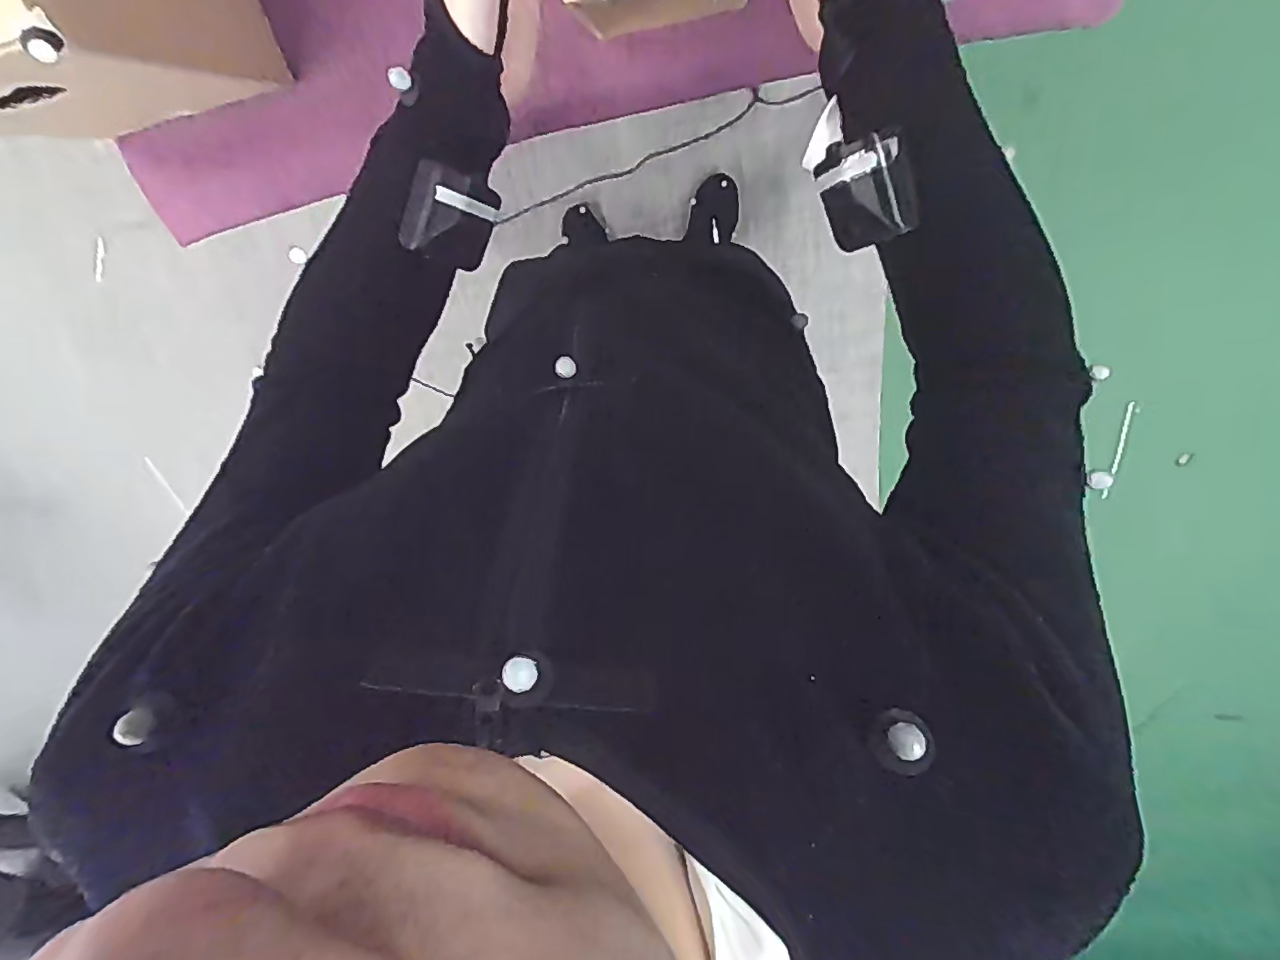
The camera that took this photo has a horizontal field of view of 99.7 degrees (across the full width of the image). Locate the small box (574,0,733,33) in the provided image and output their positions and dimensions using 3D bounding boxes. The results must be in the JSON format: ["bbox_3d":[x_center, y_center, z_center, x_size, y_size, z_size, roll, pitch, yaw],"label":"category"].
[{"bbox_3d":[0.010,-0.548,0.504,0.179,0.176,0.168,-5,120,8],"label":"small box"}]
